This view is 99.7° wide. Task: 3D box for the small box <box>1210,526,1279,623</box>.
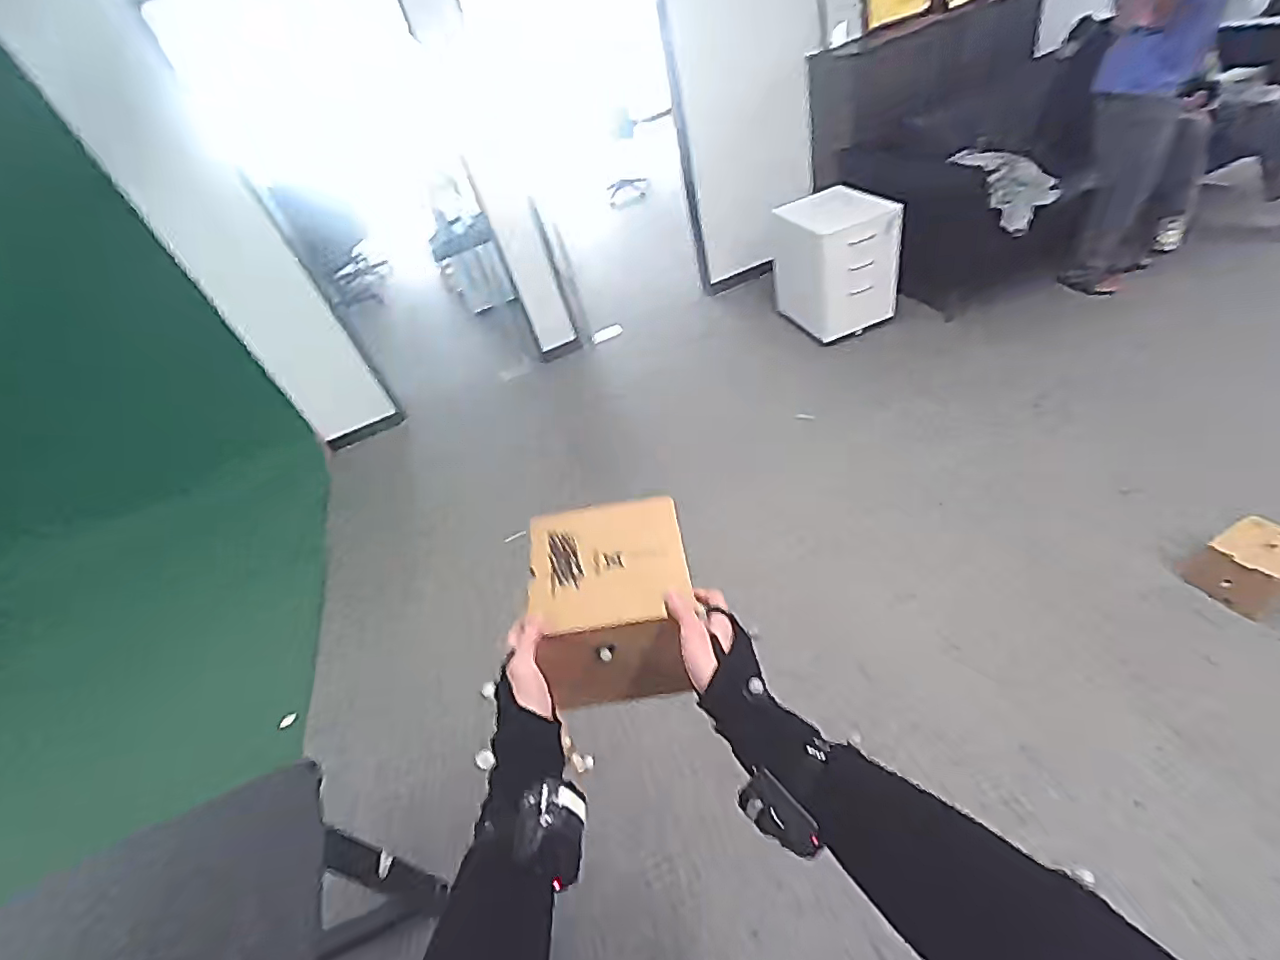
[{"bbox_3d":[1.657,0.253,1.432,0.179,0.176,0.168,16,48,36],"label":"small box"}]
